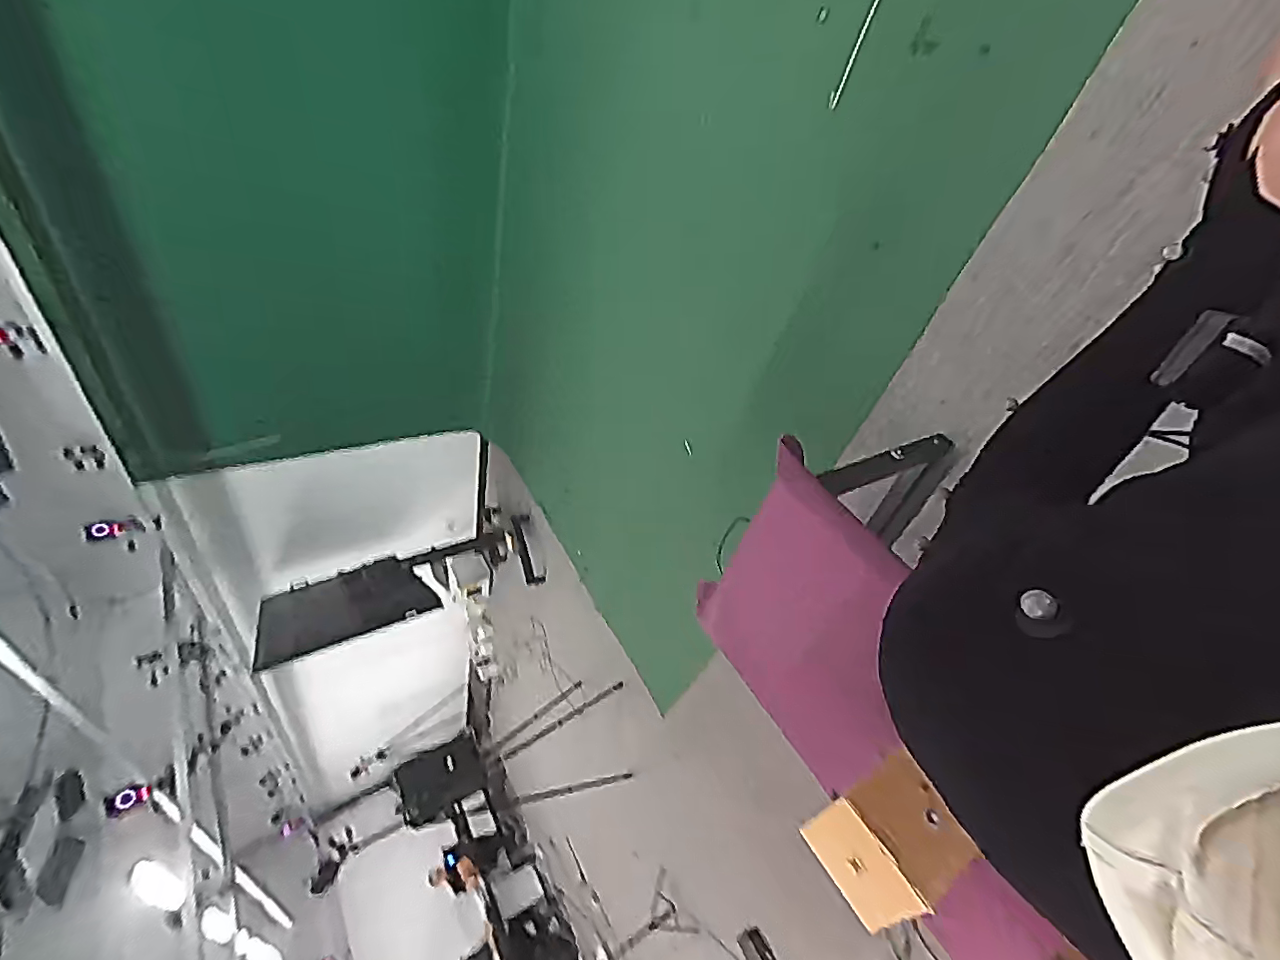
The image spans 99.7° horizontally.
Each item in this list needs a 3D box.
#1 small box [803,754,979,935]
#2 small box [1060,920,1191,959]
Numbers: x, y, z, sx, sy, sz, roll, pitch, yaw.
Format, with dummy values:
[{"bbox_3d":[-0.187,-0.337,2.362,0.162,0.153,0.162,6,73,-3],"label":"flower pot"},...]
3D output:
[{"bbox_3d":[0.411,0.594,0.892,0.168,0.176,0.179,51,140,34],"label":"small box"},{"bbox_3d":[0.730,0.795,0.786,0.168,0.176,0.179,50,139,34],"label":"small box"}]
